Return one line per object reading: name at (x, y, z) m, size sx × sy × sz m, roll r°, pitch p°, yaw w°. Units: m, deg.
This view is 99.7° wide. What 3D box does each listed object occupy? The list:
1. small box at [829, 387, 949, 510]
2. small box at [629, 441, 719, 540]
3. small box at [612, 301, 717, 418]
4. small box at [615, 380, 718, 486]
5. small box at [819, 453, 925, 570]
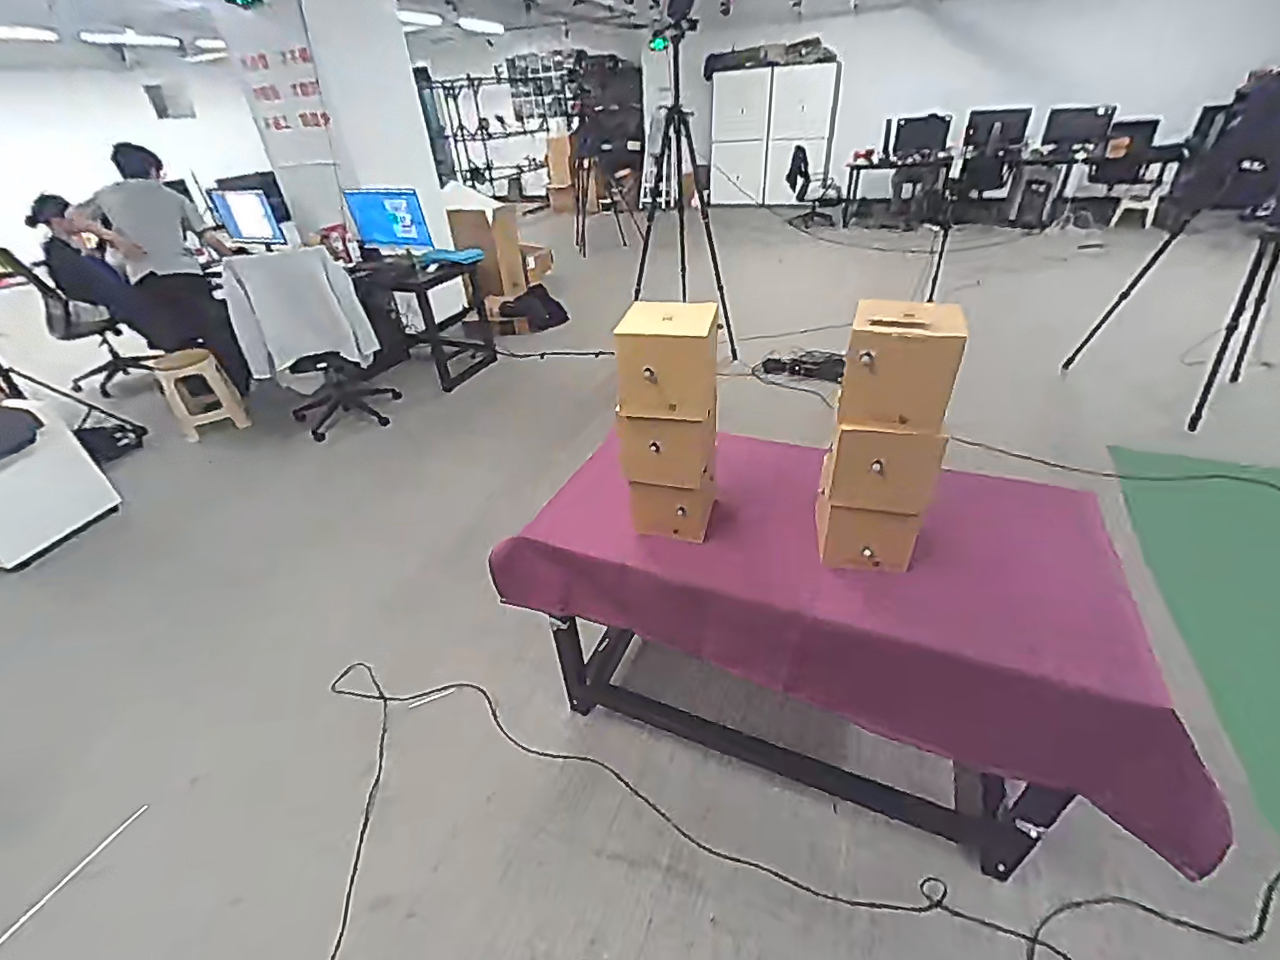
small box at (0.454, -0.061, 1.013) m, size 0.179 × 0.176 × 0.168 m, roll 6°, pitch 37°, yaw 16°
small box at (0.084, 0.016, 1.242) m, size 0.168 × 0.176 × 0.179 m, roll 8°, pitch 36°, yaw 16°
small box at (0.055, -0.229, 1.025) m, size 0.168 × 0.176 × 0.179 m, roll 5°, pitch 36°, yaw 13°
small box at (0.062, -0.104, 1.130) m, size 0.179 × 0.176 × 0.168 m, roll 7°, pitch 37°, yaw 16°
small box at (0.469, 0.062, 1.122) m, size 0.168 × 0.176 × 0.179 m, roll 3°, pitch 35°, yaw 12°
